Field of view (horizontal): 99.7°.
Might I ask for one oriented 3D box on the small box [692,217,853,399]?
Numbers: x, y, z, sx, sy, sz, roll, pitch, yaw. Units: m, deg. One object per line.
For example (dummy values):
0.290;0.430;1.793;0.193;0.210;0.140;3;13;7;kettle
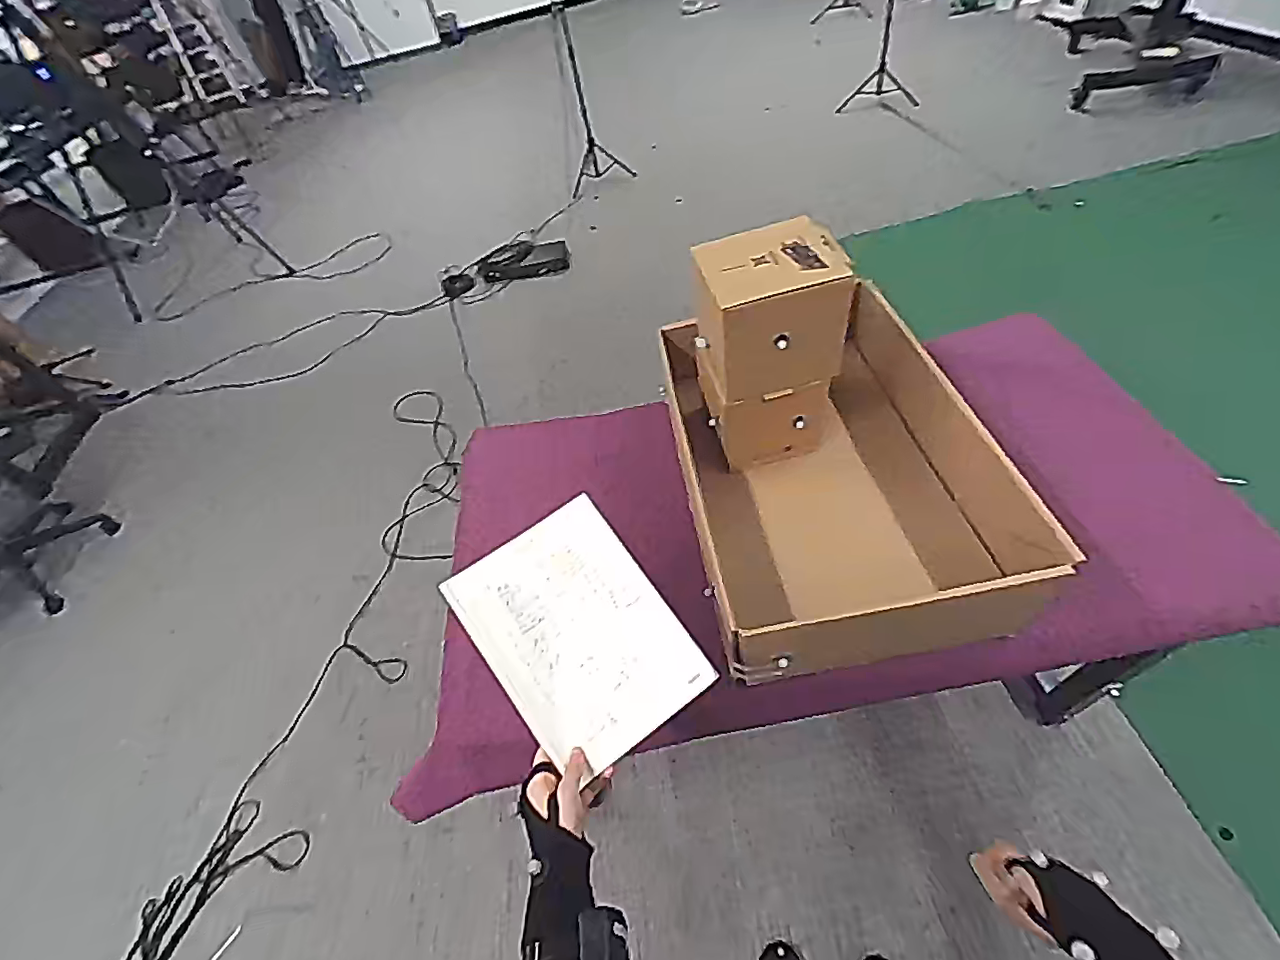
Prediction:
0.183;-0.245;0.788;0.179;0.176;0.168;-15;50;1;small box
